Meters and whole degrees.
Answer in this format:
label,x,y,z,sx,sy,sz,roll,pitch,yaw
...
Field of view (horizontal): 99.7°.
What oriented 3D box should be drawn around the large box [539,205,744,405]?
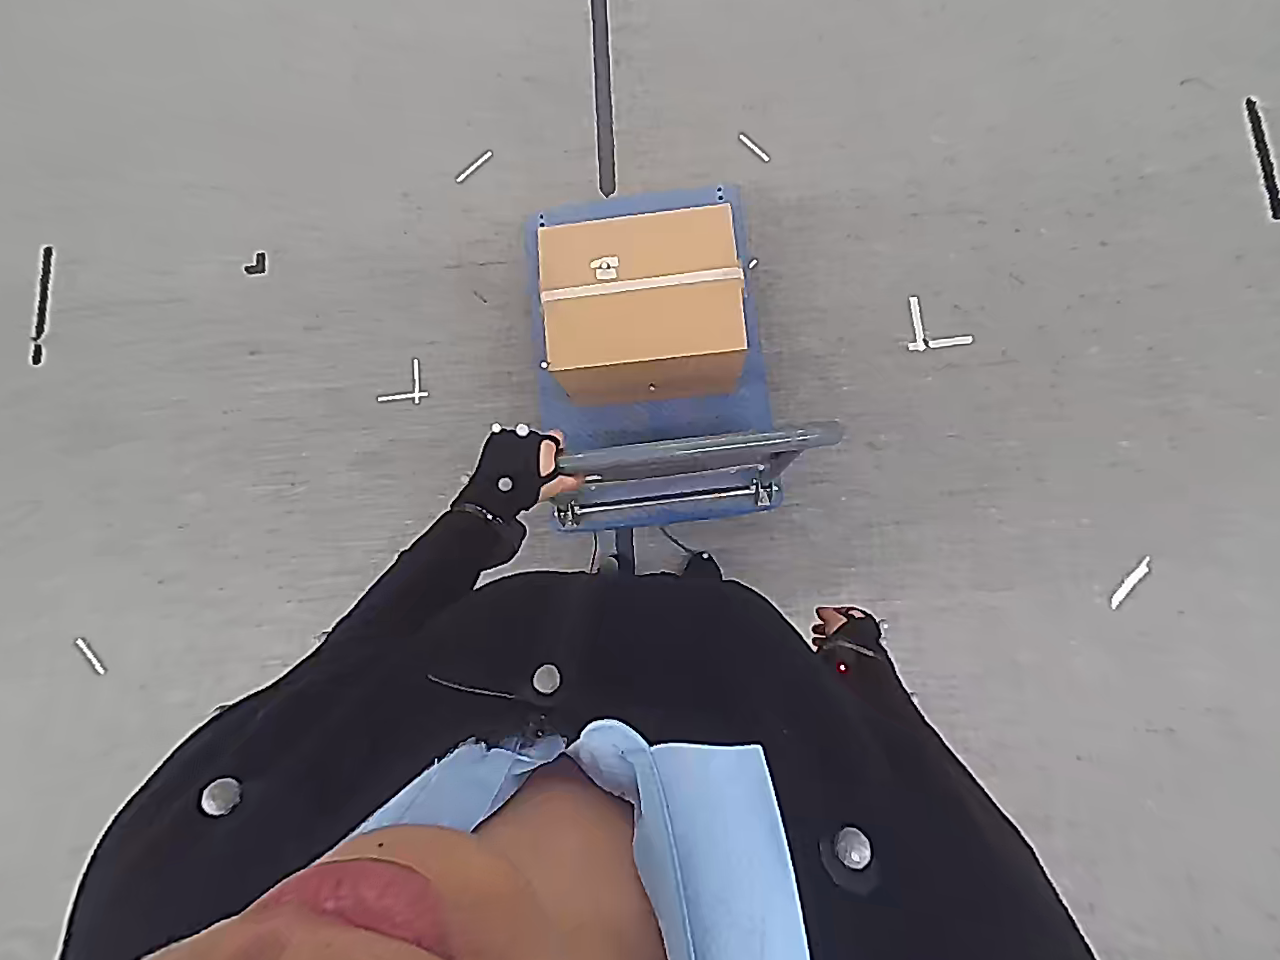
label,x,y,z,sx,sy,sz,roll,pitch,yaw
large box,0.012,-0.377,1.256,0.408,0.320,0.320,-6,82,5
